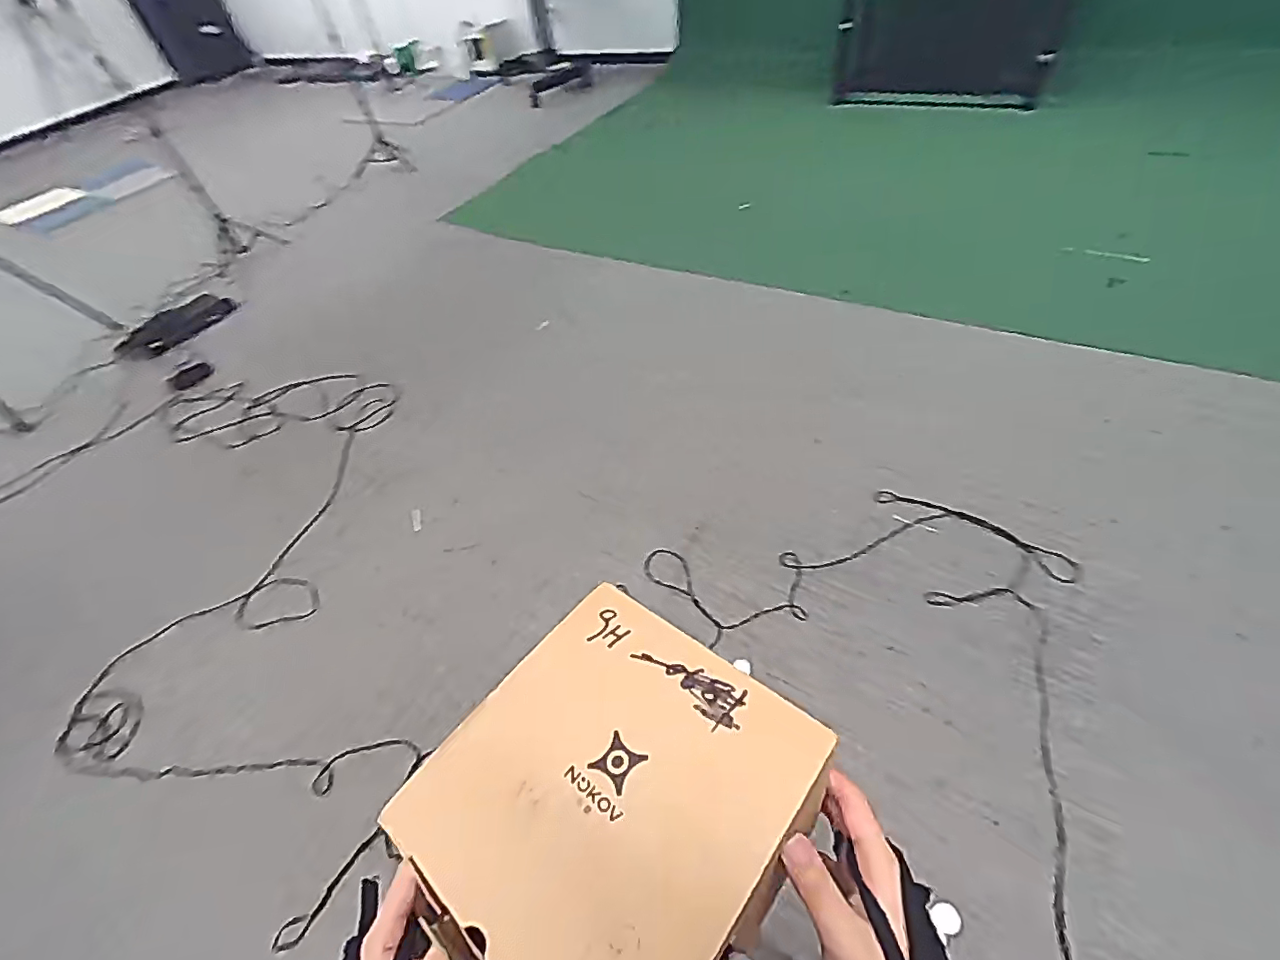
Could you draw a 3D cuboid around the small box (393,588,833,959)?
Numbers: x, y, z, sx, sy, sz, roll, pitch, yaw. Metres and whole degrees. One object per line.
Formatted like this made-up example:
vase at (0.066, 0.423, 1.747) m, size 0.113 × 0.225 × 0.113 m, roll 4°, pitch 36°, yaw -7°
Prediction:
small box at (-0.003, 0.210, 0.332) m, size 0.168 × 0.176 × 0.179 m, roll 28°, pitch 57°, yaw 33°
